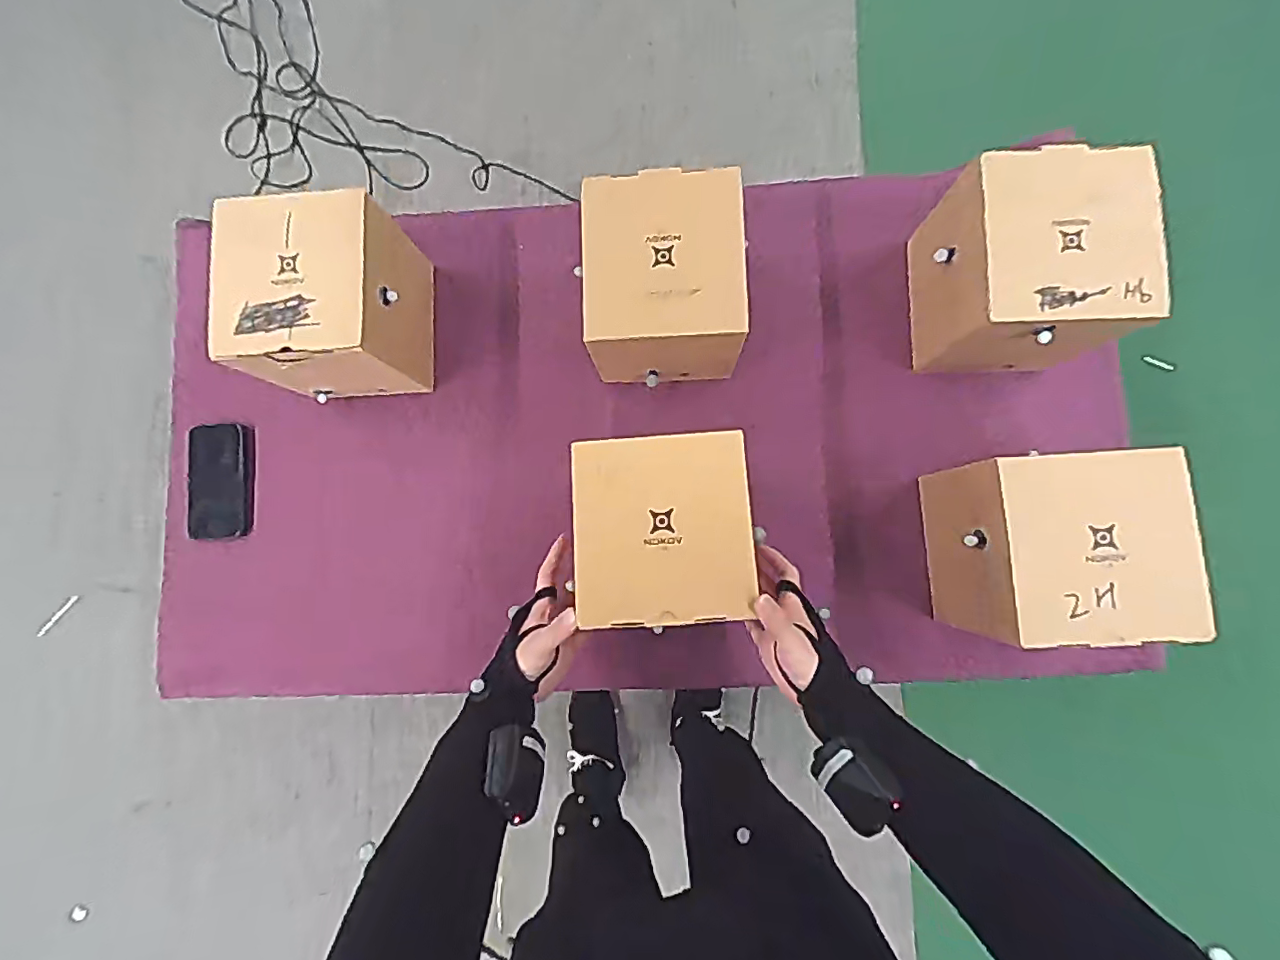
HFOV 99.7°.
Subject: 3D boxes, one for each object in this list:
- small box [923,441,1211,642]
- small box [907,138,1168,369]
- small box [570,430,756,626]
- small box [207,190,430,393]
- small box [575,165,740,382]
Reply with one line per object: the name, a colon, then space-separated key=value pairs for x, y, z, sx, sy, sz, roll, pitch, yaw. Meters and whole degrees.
small box: x=0.415 y=0.062 z=0.561 sx=0.168 sy=0.176 sz=0.179 roll=-3 pitch=84 yaw=5
small box: x=0.411 y=-0.233 z=0.593 sx=0.168 sy=0.176 sz=0.179 roll=-1 pitch=84 yaw=4
small box: x=0.022 y=0.058 z=0.575 sx=0.168 sy=0.176 sz=0.179 roll=-4 pitch=79 yaw=3
small box: x=-0.362 y=-0.205 z=0.639 sx=0.168 sy=0.176 sz=0.179 roll=-3 pitch=84 yaw=4
small box: x=0.021 y=-0.222 z=0.619 sx=0.168 sy=0.176 sz=0.179 roll=-2 pitch=85 yaw=4
